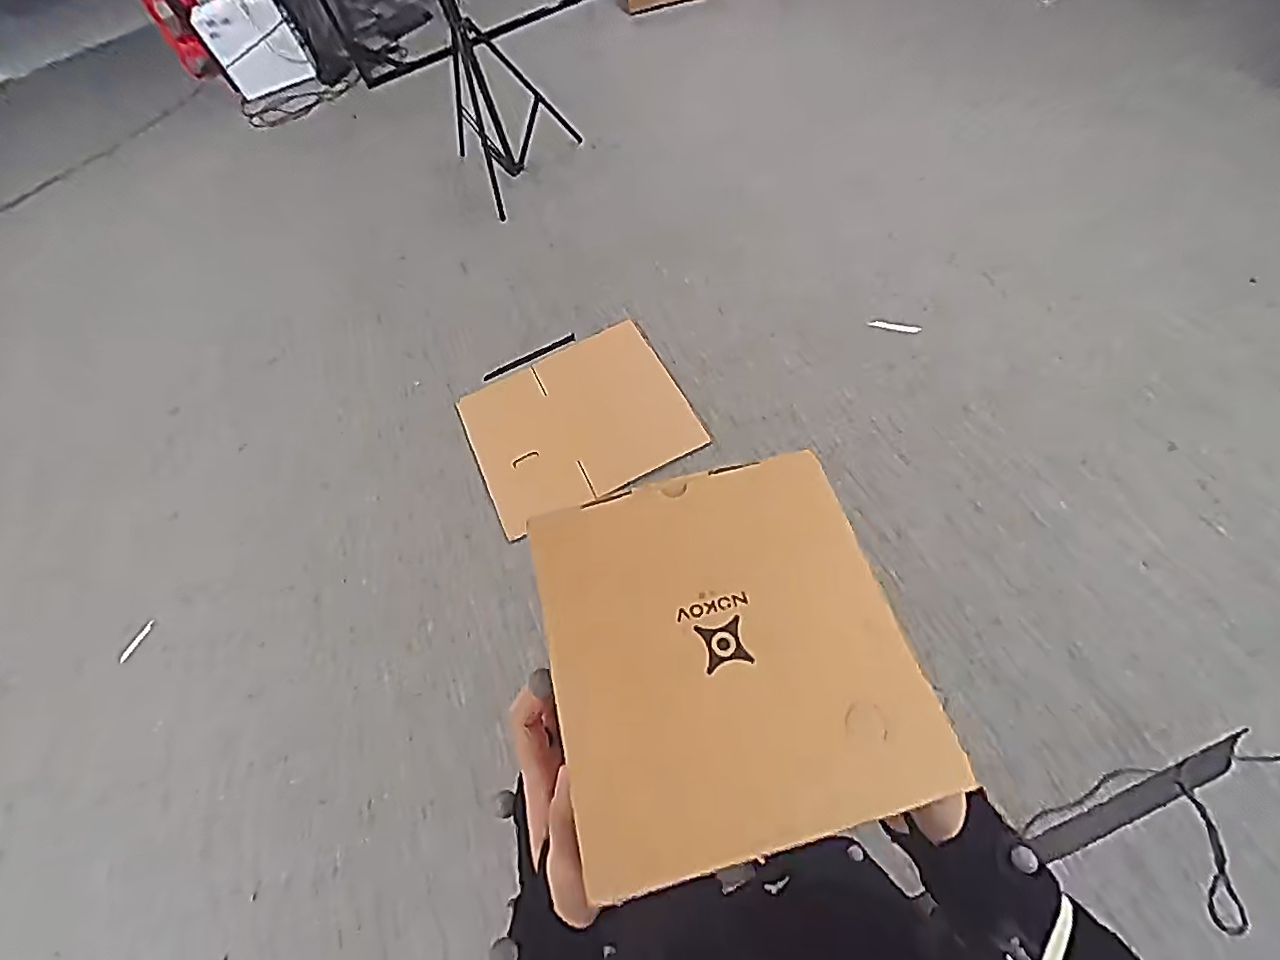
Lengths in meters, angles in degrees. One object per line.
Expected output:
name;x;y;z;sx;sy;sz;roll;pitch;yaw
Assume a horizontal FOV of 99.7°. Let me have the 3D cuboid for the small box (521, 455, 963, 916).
small box;0.040;0.116;0.323;0.168;0.176;0.179;-14;59;-4
